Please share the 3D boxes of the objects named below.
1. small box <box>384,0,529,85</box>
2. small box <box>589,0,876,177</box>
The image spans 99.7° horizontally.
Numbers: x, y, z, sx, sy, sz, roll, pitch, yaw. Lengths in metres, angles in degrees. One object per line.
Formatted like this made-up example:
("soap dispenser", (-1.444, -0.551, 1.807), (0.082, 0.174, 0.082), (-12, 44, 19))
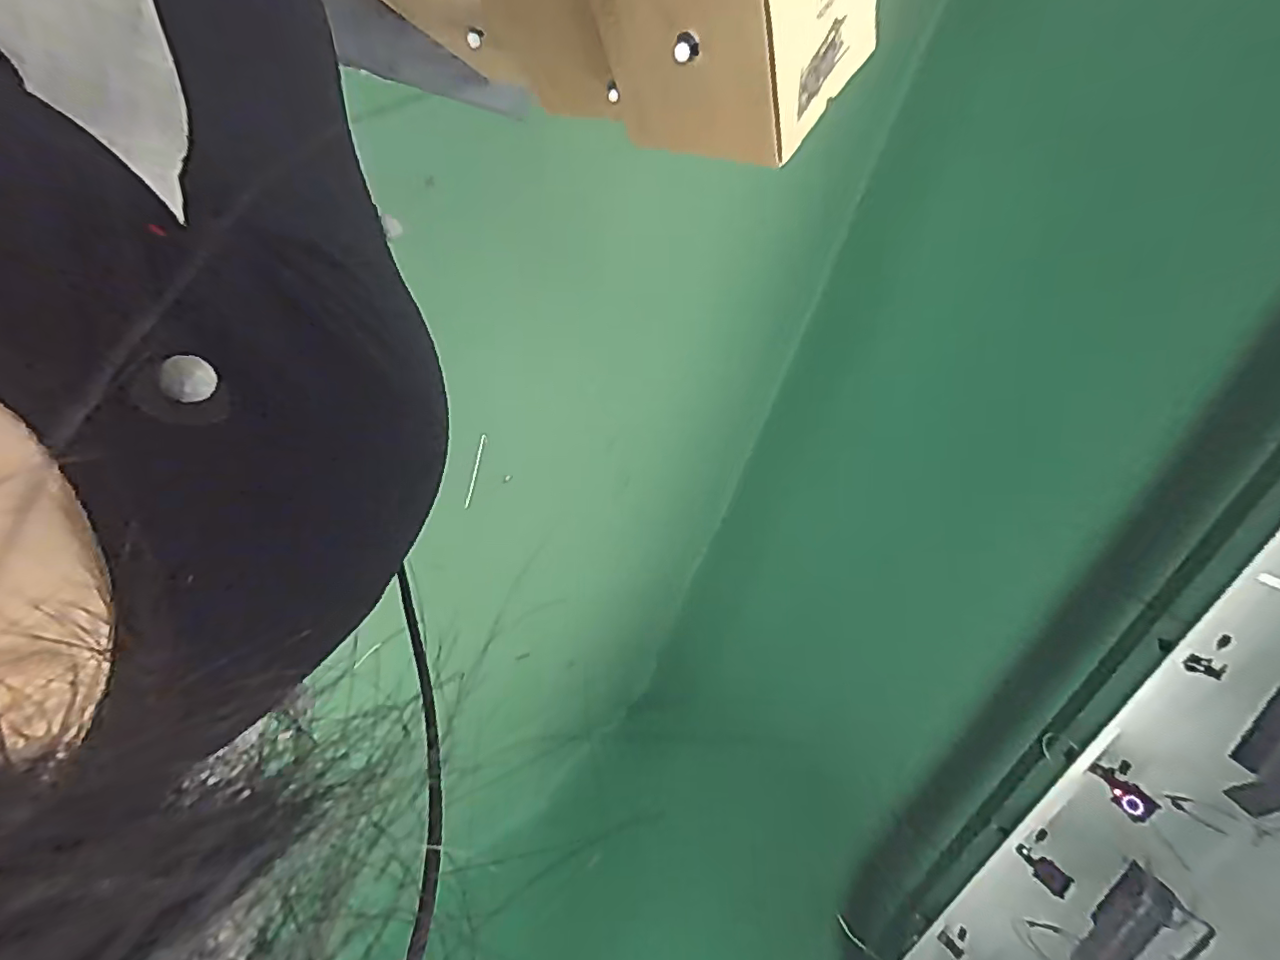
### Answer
("small box", (-0.158, -0.570, 0.603), (0.179, 0.176, 0.168), (-2, 116, -55))
("small box", (0.078, -0.395, 0.451), (0.168, 0.176, 0.179), (-54, 149, -12))
